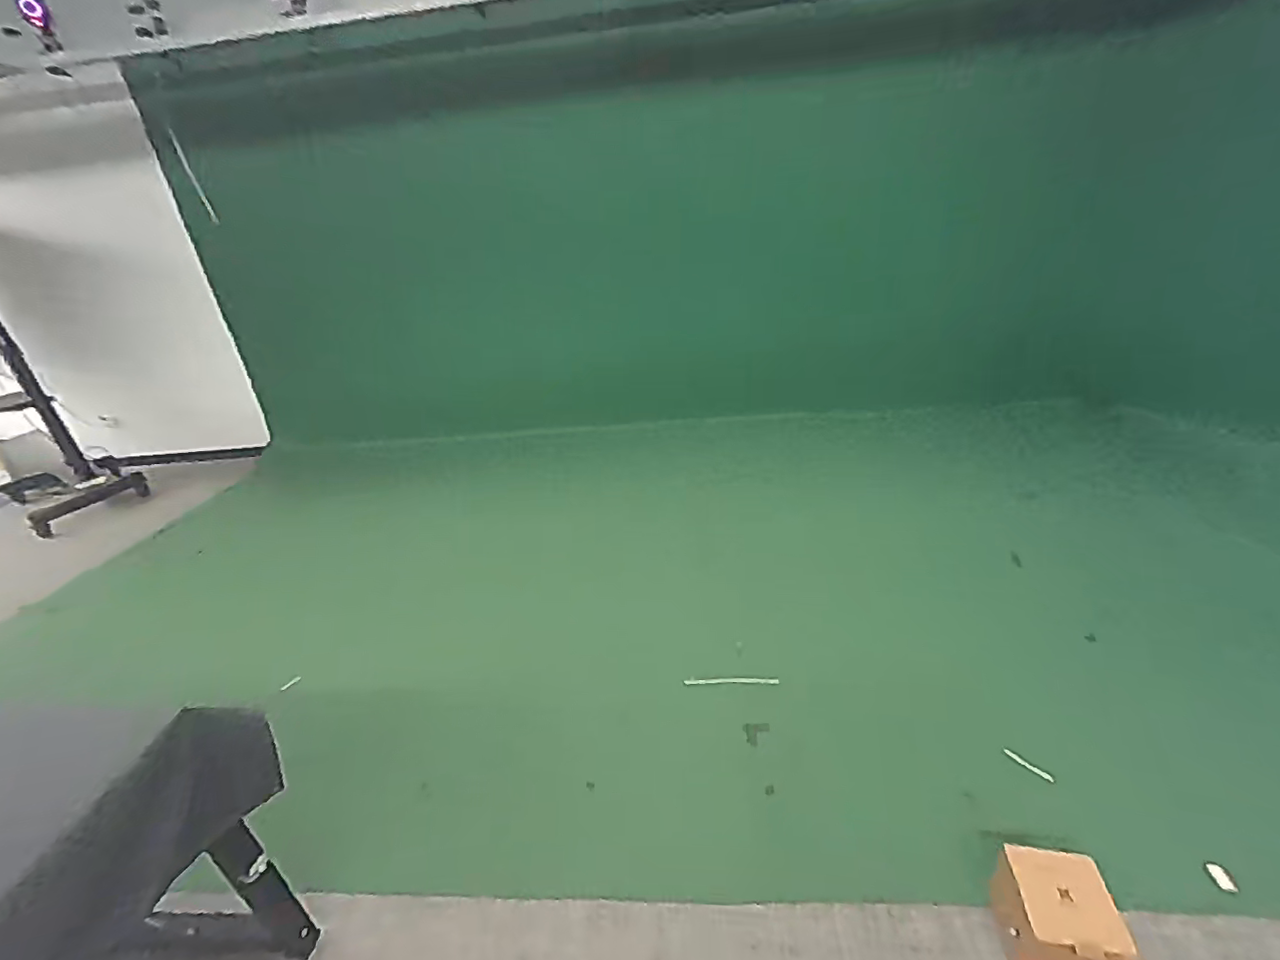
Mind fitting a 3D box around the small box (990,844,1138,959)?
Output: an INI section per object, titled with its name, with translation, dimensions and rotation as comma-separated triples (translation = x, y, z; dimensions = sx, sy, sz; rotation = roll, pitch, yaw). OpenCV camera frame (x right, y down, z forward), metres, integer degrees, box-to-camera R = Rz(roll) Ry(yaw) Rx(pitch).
[small box]
translation = 0.836, 0.883, 1.088
dimensions = 0.168, 0.176, 0.179
rotation = 1, 26, 12
